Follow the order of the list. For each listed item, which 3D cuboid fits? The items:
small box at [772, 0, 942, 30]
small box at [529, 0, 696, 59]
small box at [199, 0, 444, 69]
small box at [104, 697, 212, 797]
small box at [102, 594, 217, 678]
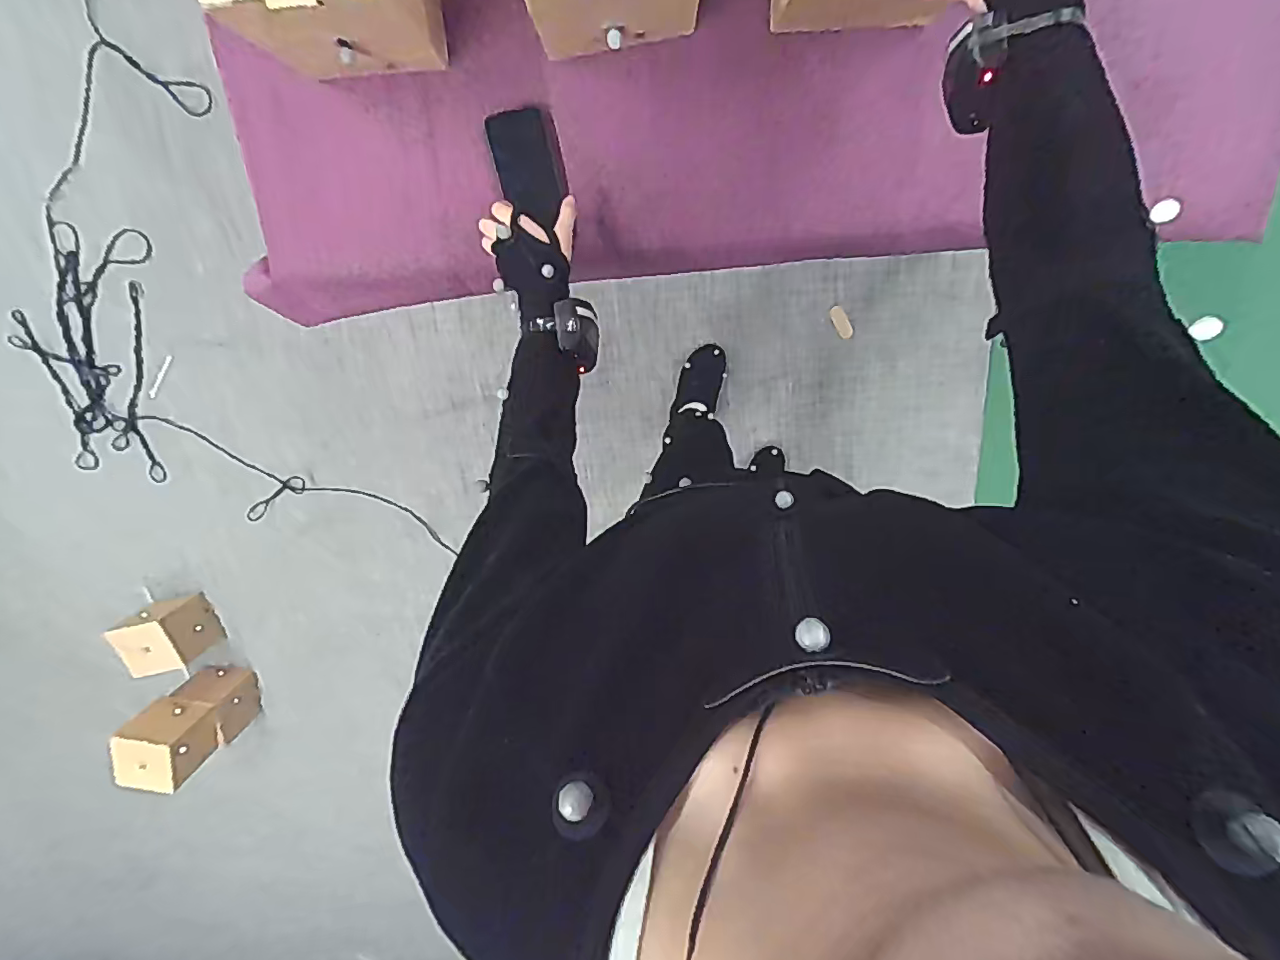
[{"bbox_3d":[0.223,-0.544,0.490,0.179,0.176,0.168,0,109,2],"label":"small box"},{"bbox_3d":[-0.036,-0.538,0.500,0.168,0.176,0.179,-7,108,4],"label":"small box"},{"bbox_3d":[-0.304,-0.521,0.514,0.168,0.176,0.179,-2,109,3],"label":"small box"},{"bbox_3d":[-1.378,0.766,1.560,0.168,0.176,0.179,11,107,-1],"label":"small box"},{"bbox_3d":[-1.430,0.464,1.630,0.179,0.176,0.168,-12,108,6],"label":"small box"}]
